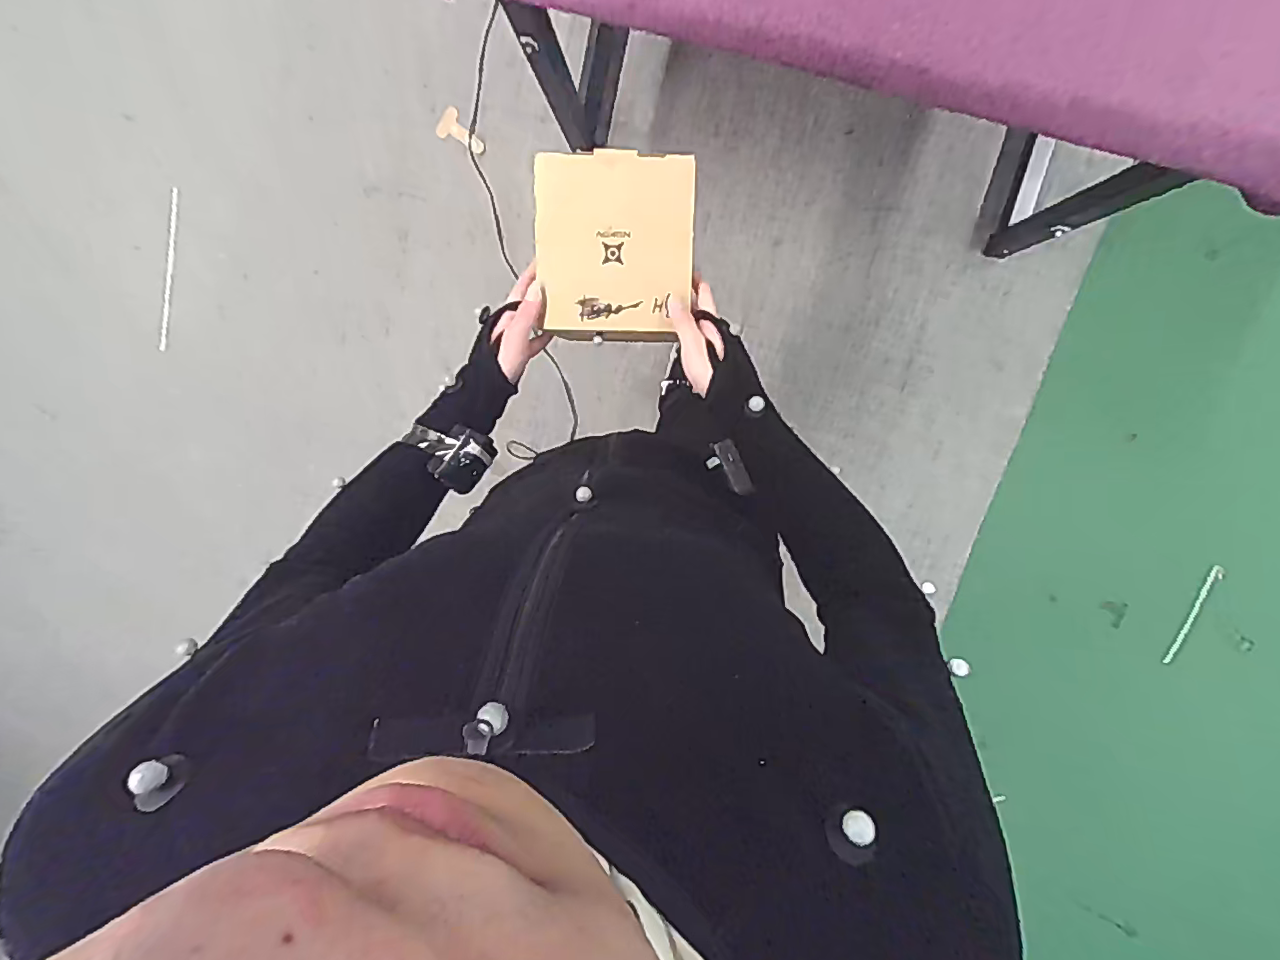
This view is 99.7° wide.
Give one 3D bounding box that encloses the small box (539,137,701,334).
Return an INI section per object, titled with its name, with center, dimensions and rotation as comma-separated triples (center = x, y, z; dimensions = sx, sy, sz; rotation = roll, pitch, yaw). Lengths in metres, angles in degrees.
[small box]
center = -0.022, -0.270, 0.634
dimensions = 0.168, 0.176, 0.179
rotation = 1, 101, 1
